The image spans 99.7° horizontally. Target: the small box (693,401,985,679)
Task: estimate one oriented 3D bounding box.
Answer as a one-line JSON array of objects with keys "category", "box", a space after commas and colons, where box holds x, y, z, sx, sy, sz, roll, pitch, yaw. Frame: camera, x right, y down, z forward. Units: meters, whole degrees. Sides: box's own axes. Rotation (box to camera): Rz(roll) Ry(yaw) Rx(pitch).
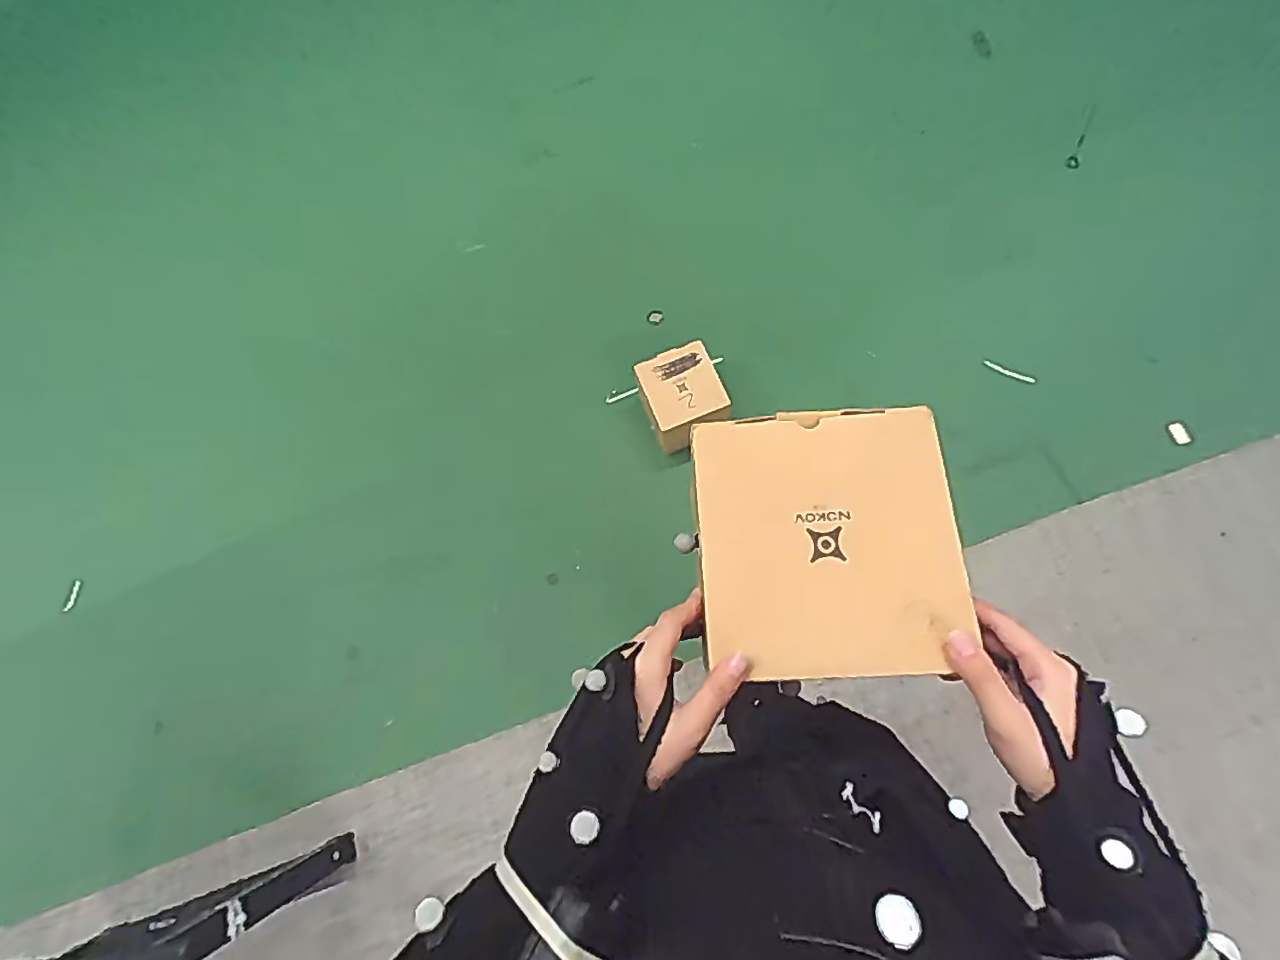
[{"category": "small box", "box": [0.130, 0.056, 0.427, 0.168, 0.176, 0.179, -4, 73, 4]}]
